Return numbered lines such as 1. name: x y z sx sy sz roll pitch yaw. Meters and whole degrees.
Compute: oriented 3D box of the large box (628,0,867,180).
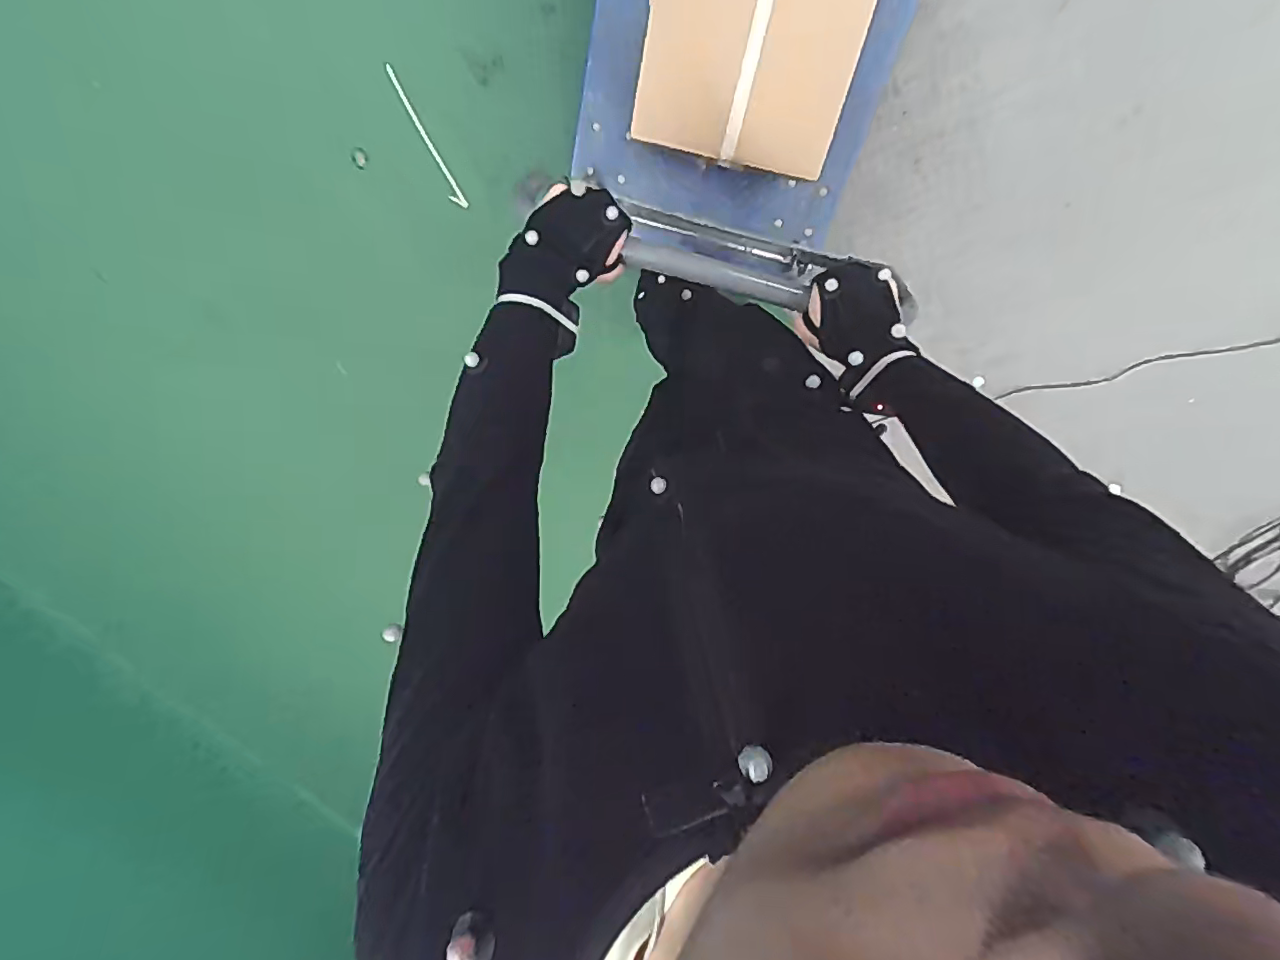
1. large box: 0.176 -0.755 0.904 0.320 0.320 0.408 12 120 -3
